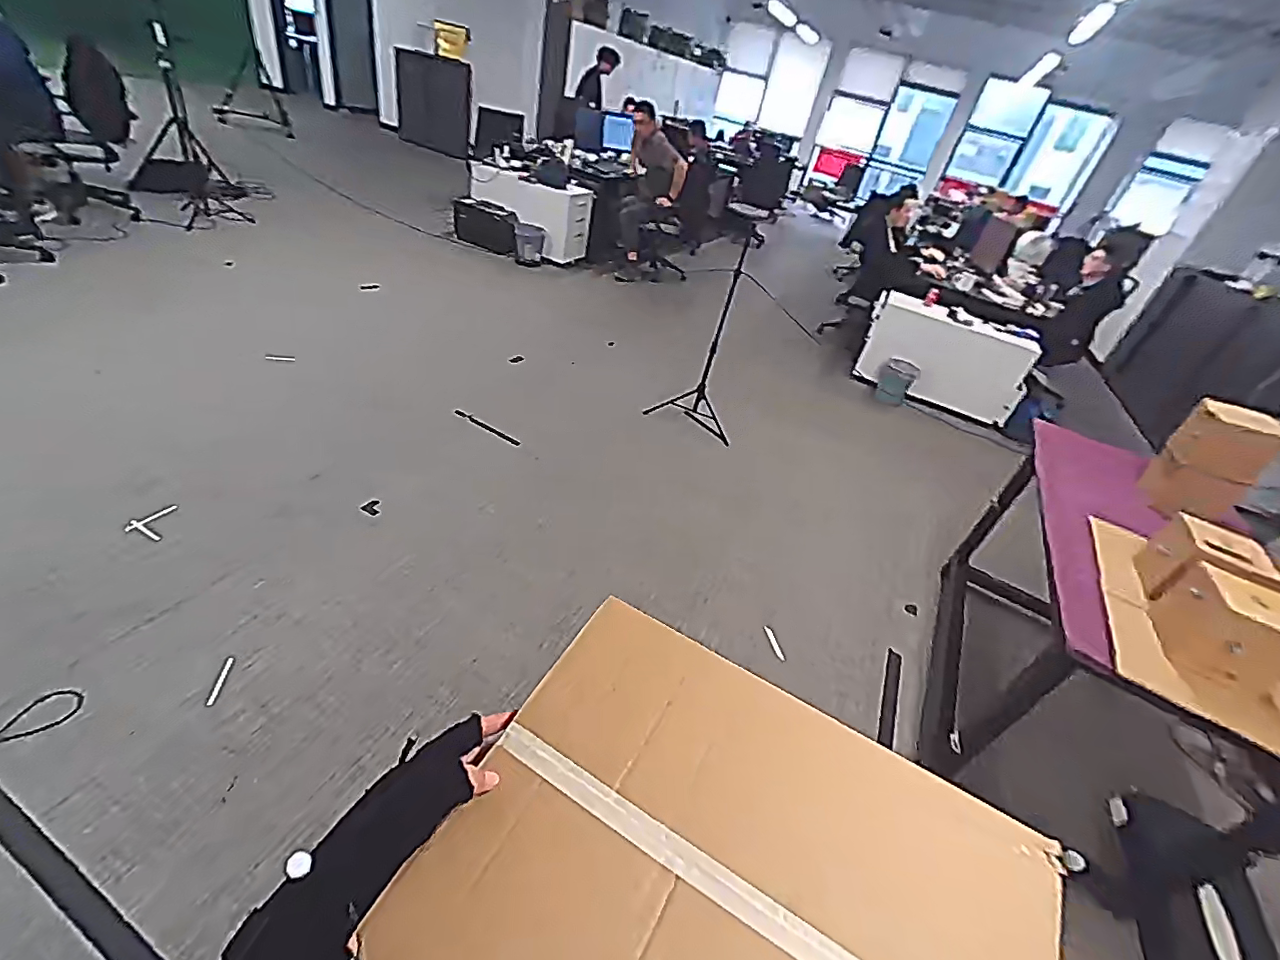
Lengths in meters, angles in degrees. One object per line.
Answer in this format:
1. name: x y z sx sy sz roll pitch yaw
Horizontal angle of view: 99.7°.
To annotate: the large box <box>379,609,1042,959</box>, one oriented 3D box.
1. large box: 0.059 0.398 0.495 0.408 0.320 0.320 25 49 19
